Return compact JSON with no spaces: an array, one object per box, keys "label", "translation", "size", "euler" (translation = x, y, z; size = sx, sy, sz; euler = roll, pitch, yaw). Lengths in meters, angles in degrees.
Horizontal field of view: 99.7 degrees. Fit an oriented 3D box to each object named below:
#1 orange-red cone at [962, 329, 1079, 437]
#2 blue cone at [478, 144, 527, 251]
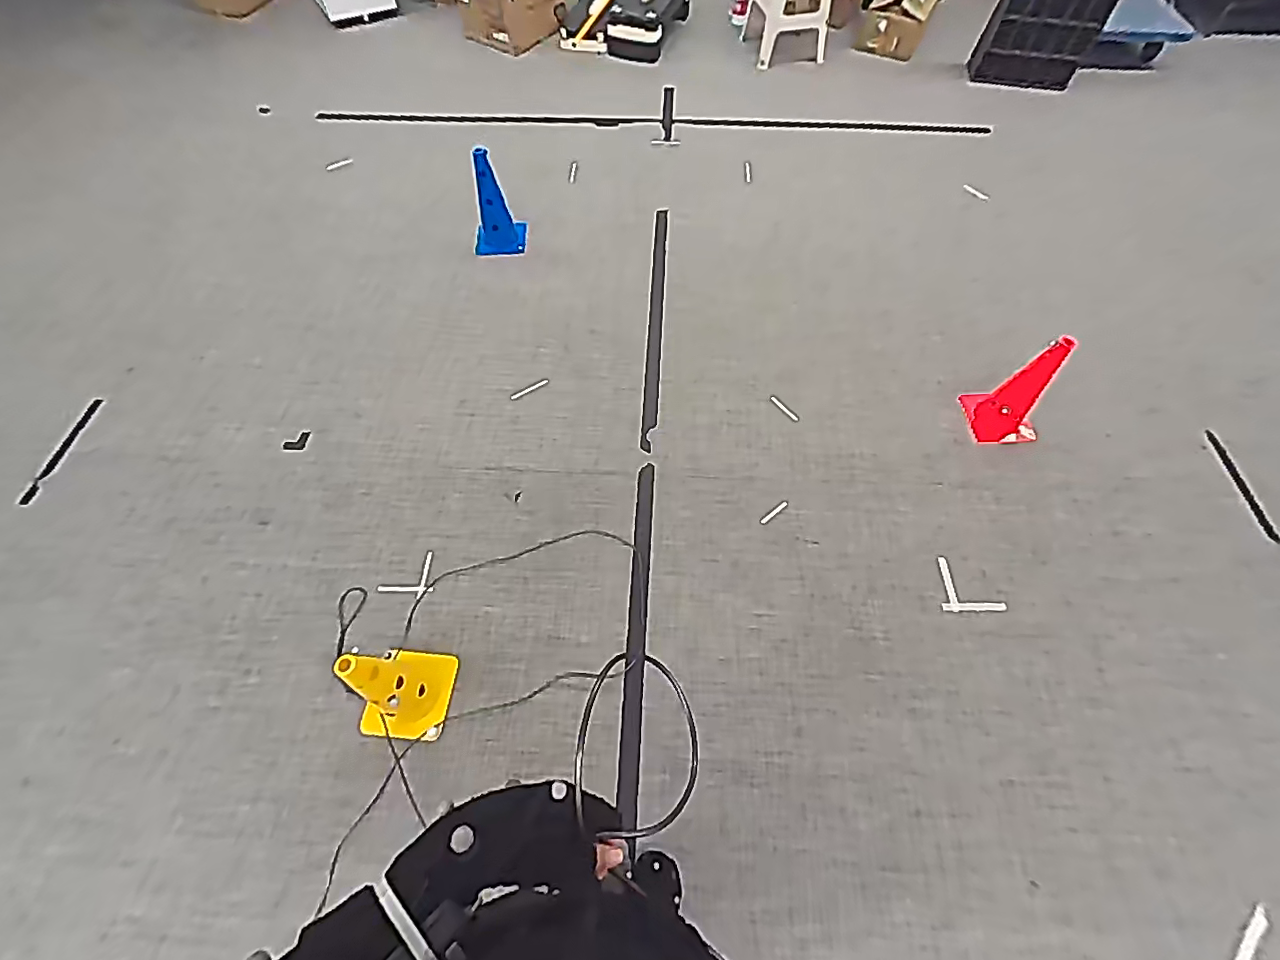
[{"label":"orange-red cone","translation":[1.173,-0.310,1.619],"size":[0.198,0.360,0.199],"euler":[-1,59,-1]},{"label":"blue cone","translation":[-0.564,-1.088,2.077],"size":[0.192,0.380,0.193],"euler":[-2,60,-1]}]
